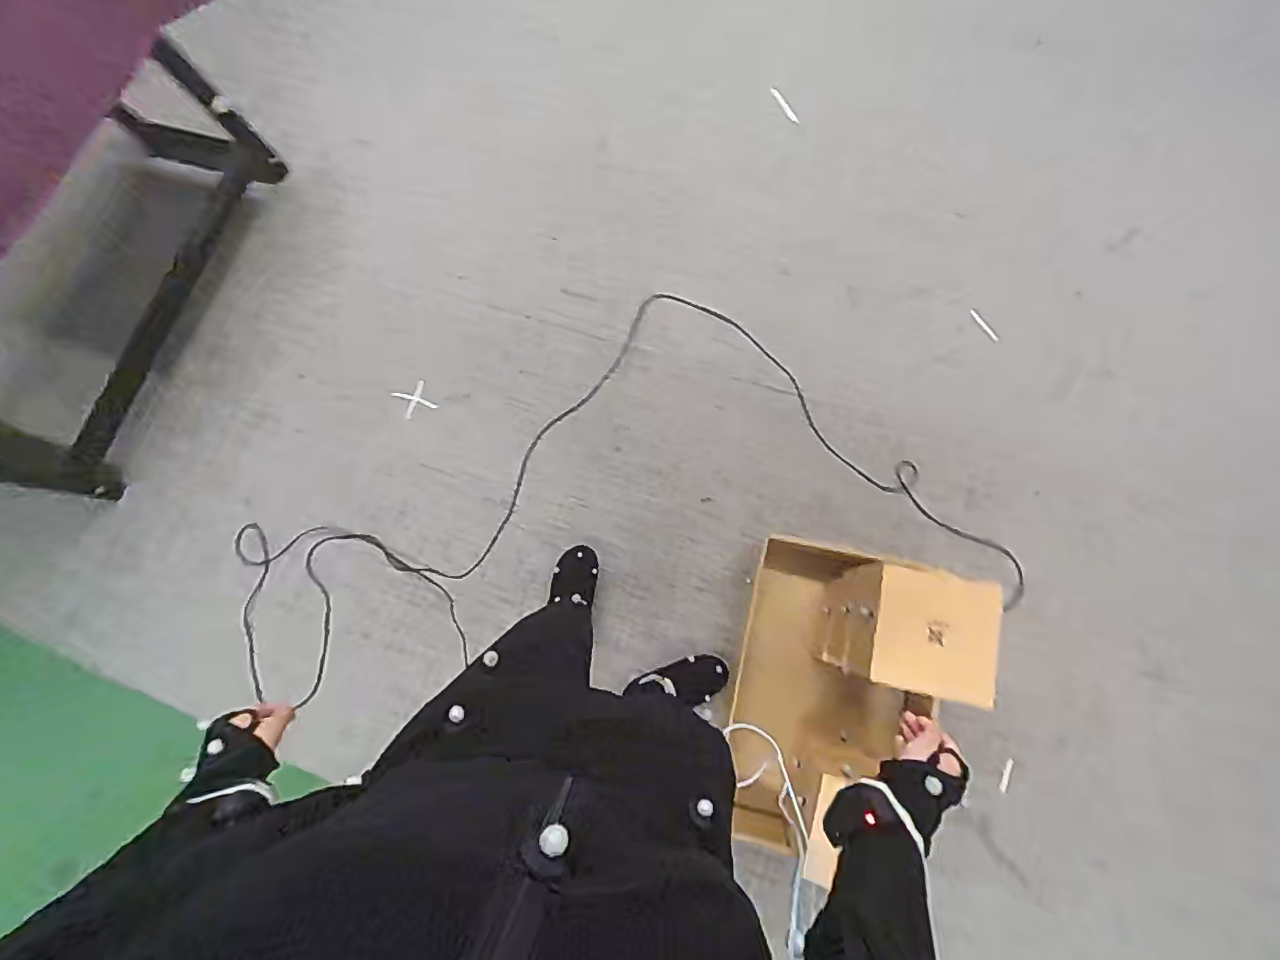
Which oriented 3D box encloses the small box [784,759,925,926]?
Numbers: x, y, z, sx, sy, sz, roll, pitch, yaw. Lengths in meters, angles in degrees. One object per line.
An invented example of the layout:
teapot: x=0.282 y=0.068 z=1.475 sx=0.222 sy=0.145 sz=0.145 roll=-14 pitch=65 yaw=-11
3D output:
small box: x=0.363 y=0.615 z=0.948 sx=0.179 sy=0.176 sz=0.168 roll=16 pitch=81 yaw=10

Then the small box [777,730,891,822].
small box: x=0.388 y=0.639 z=1.110 sx=0.168 sy=0.176 sz=0.179 roll=16 pitch=79 yaw=10

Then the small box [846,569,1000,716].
small box: x=0.436 y=0.250 z=0.858 sx=0.168 sy=0.176 sz=0.179 roll=11 pitch=78 yaw=11

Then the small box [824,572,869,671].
small box: x=0.457 y=0.285 z=1.015 sx=0.168 sy=0.176 sz=0.179 roll=16 pitch=80 yaw=12
